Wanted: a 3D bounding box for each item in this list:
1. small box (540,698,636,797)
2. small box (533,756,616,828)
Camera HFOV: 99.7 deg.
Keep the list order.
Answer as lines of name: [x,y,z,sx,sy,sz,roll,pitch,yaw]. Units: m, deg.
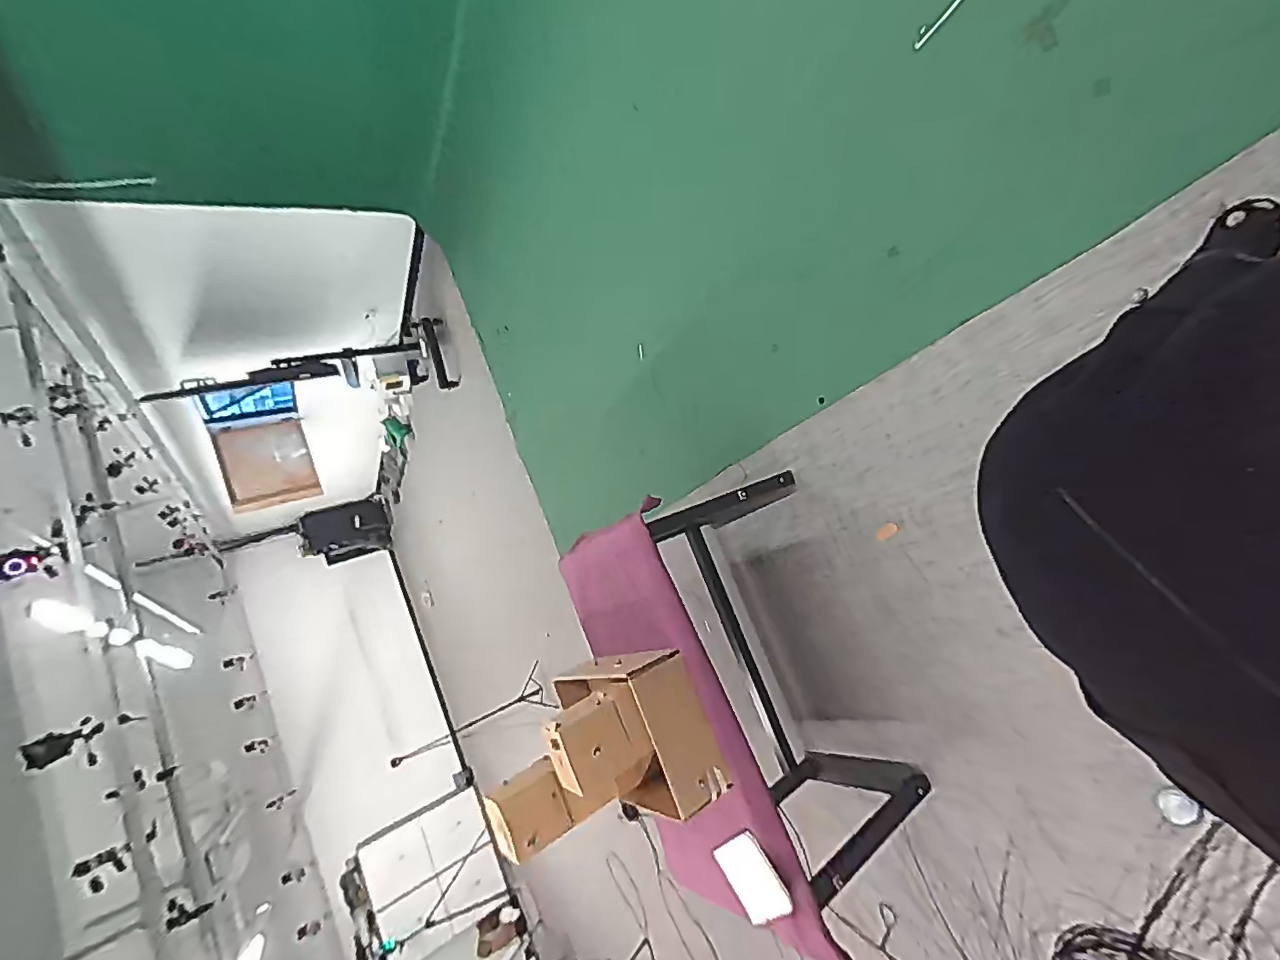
small box: [-0.140,0.707,1.453,0.168,0.176,0.179,-32,80,57]
small box: [-0.191,0.900,1.626,0.179,0.176,0.168,-31,79,54]
